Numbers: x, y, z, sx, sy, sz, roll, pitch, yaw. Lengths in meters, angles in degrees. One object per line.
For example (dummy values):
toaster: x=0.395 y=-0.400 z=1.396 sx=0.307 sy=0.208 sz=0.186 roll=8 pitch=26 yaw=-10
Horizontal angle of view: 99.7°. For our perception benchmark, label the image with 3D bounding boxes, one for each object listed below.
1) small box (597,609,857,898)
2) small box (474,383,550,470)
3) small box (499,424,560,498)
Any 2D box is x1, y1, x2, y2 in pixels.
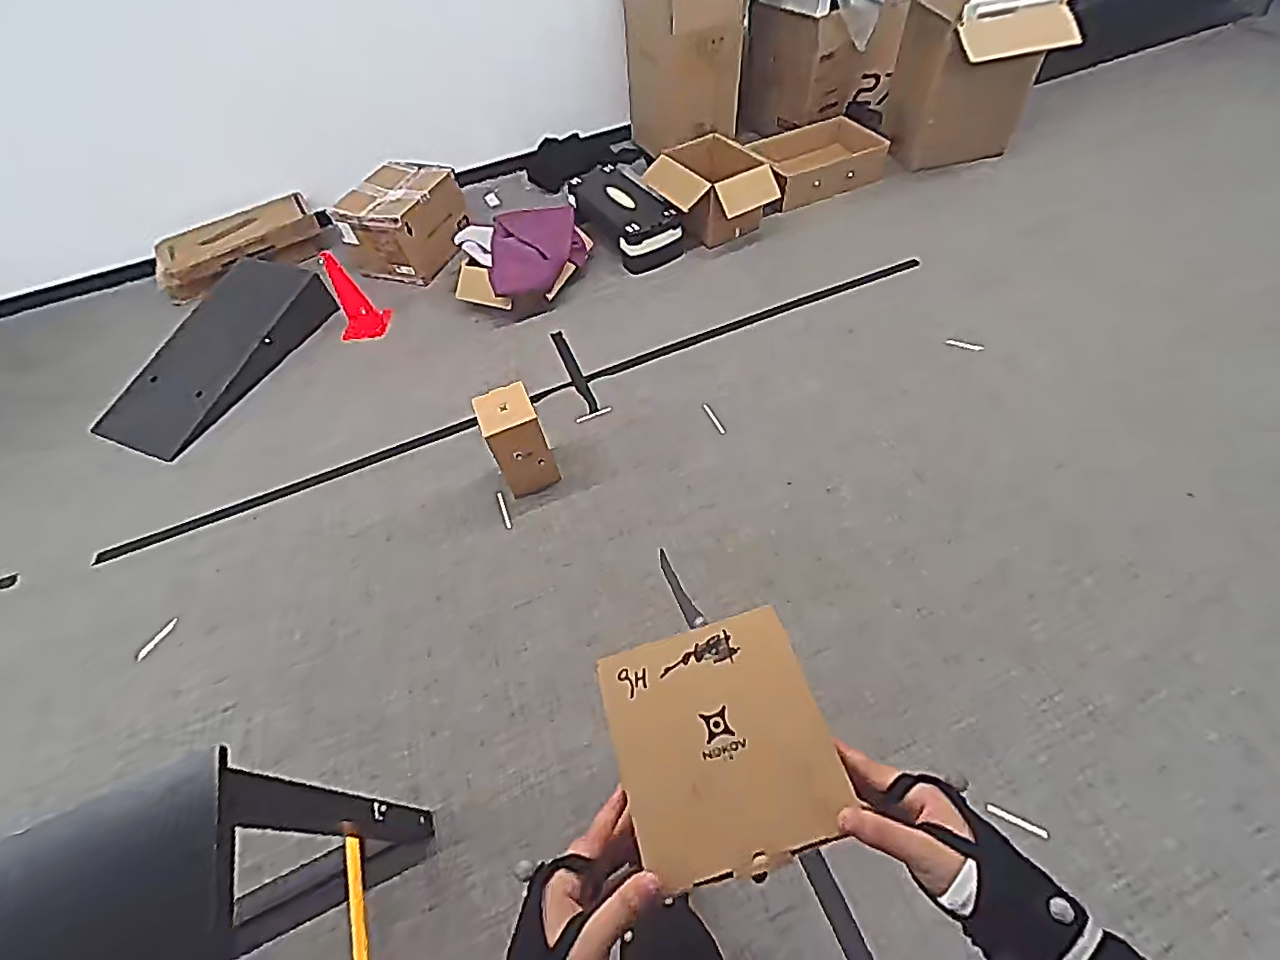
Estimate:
small box: x=0.072 y=0.247 z=0.504 sx=0.168 sy=0.176 sz=0.179 roll=-17 pitch=59 yaw=-3
small box: x=-0.395 y=-0.162 z=1.681 sx=0.168 sy=0.176 sz=0.179 roll=-23 pitch=56 yaw=-9
small box: x=-0.380 y=-0.072 z=1.815 sx=0.179 sy=0.176 sz=0.168 roll=-23 pitch=55 yaw=-10
